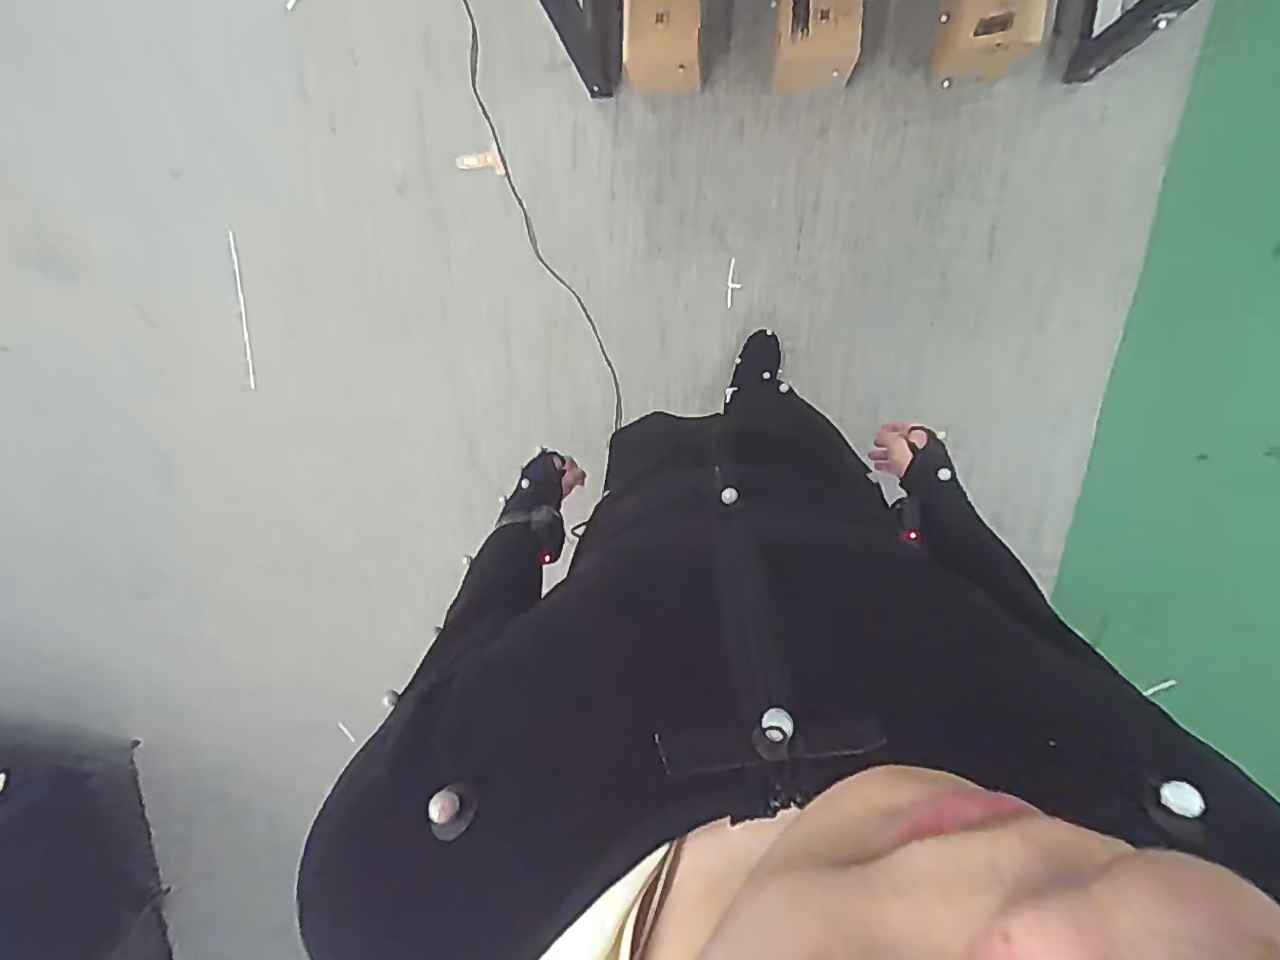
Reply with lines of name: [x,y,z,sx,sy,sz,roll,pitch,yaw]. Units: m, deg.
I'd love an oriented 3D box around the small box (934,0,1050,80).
small box: [0.762,-1.006,1.179,0.168,0.176,0.179,2,104,8]

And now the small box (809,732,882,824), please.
small box: [0.633,0.924,1.691,0.168,0.176,0.179,8,105,7]

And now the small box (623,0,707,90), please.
small box: [0.063,-1.055,1.284,0.179,0.176,0.168,4,105,8]
